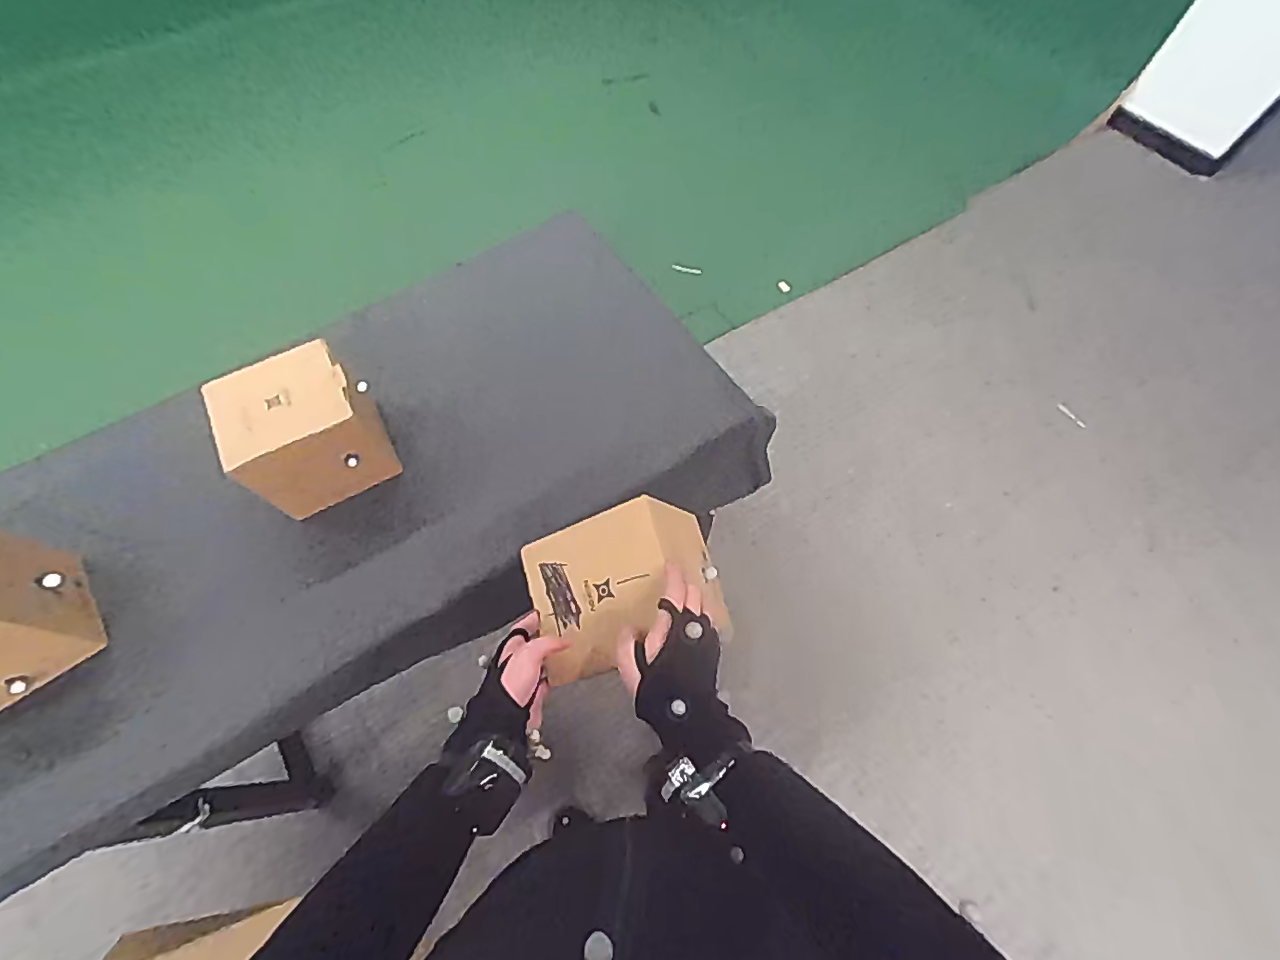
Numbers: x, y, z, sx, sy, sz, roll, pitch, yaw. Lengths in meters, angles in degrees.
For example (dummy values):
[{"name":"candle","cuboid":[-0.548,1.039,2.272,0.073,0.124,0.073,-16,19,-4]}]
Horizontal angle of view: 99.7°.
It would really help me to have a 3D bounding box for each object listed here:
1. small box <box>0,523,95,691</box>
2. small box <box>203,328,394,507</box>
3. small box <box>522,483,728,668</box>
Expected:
[{"name":"small box","cuboid":[-0.865,0.165,0.694,0.179,0.176,0.168,-35,69,-16]},{"name":"small box","cuboid":[-0.499,-0.088,0.818,0.179,0.176,0.168,-28,66,-11]},{"name":"small box","cuboid":[-0.013,0.121,0.661,0.179,0.176,0.168,-22,71,19]}]
